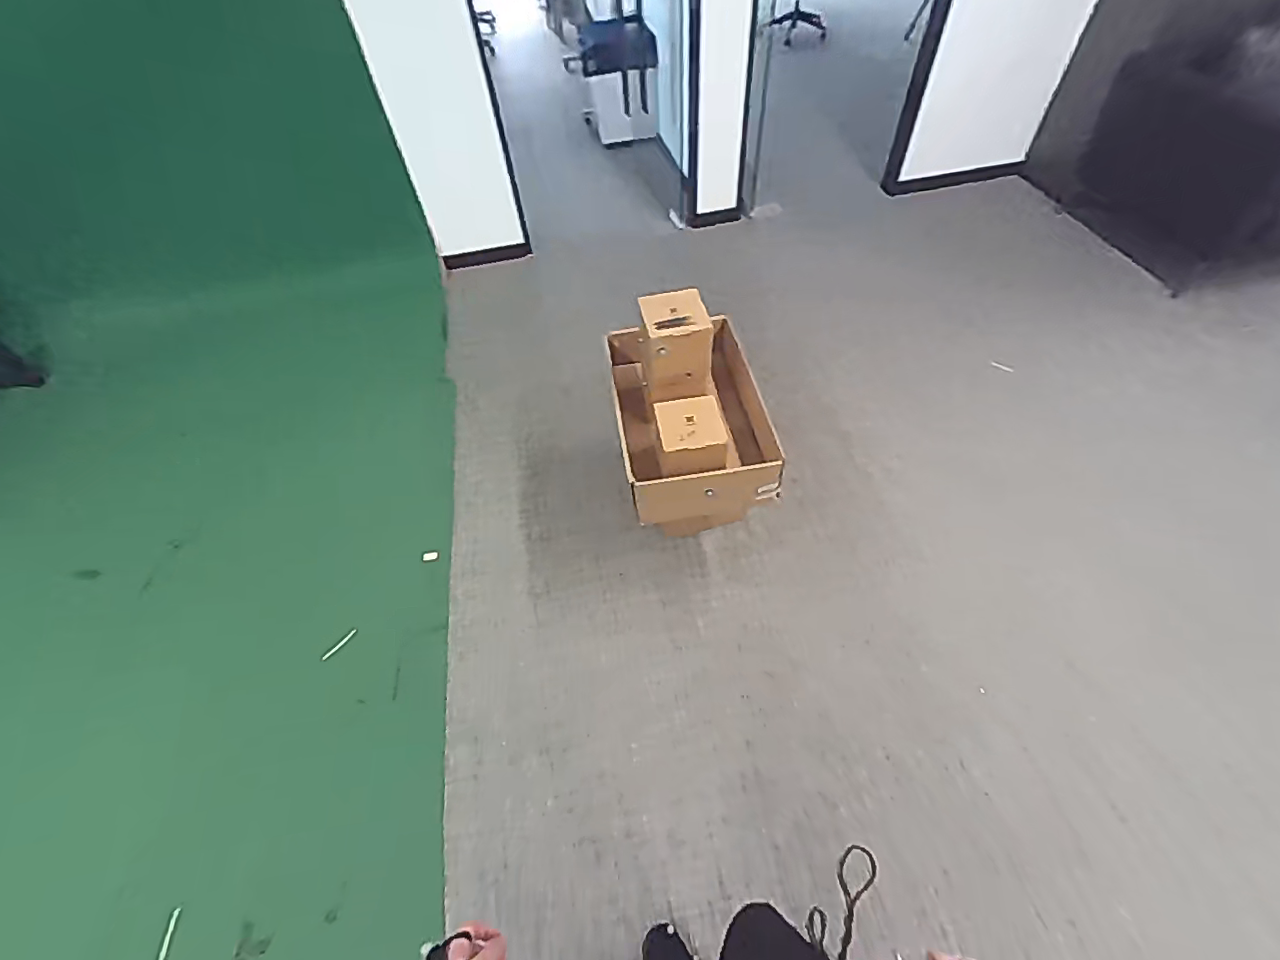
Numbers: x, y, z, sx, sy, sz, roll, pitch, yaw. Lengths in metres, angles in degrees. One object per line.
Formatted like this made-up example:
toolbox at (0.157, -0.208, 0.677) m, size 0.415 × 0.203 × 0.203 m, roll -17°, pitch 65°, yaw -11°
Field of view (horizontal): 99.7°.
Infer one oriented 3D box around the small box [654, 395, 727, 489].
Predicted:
small box at (0.130, -0.101, 1.450) m, size 0.168 × 0.176 × 0.179 m, roll -9°, pitch 52°, yaw -1°

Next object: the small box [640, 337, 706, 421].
small box at (0.095, -0.296, 1.610) m, size 0.168 × 0.176 × 0.179 m, roll -10°, pitch 54°, yaw -3°
